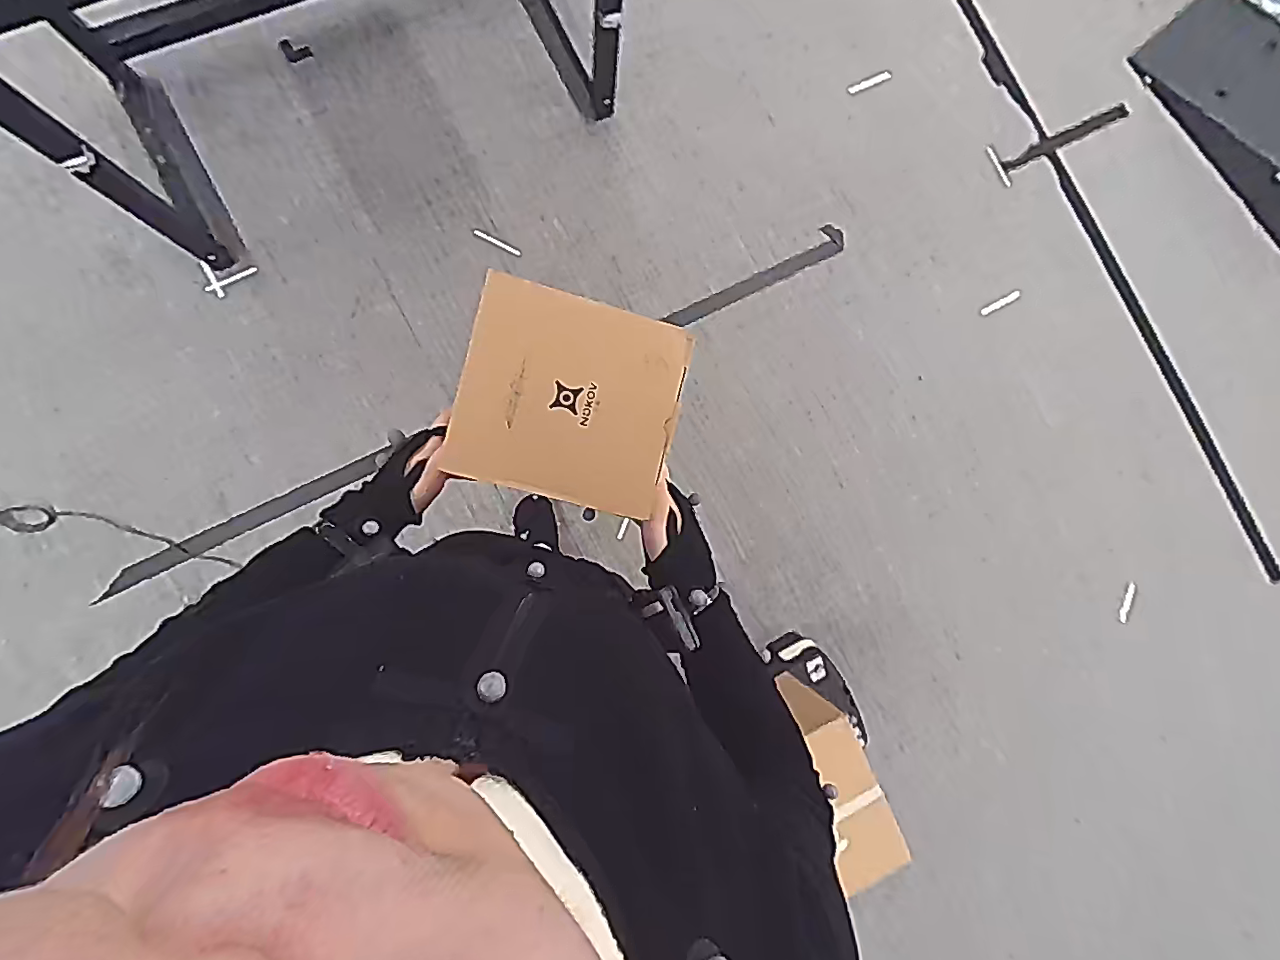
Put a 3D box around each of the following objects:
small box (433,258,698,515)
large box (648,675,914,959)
[{"bbox_3d":[-0.068,-0.073,0.504,0.179,0.176,0.168,15,89,-9],"label":"small box"},{"bbox_3d":[0.273,0.686,1.167,0.408,0.320,0.320,-24,89,-9],"label":"large box"}]
